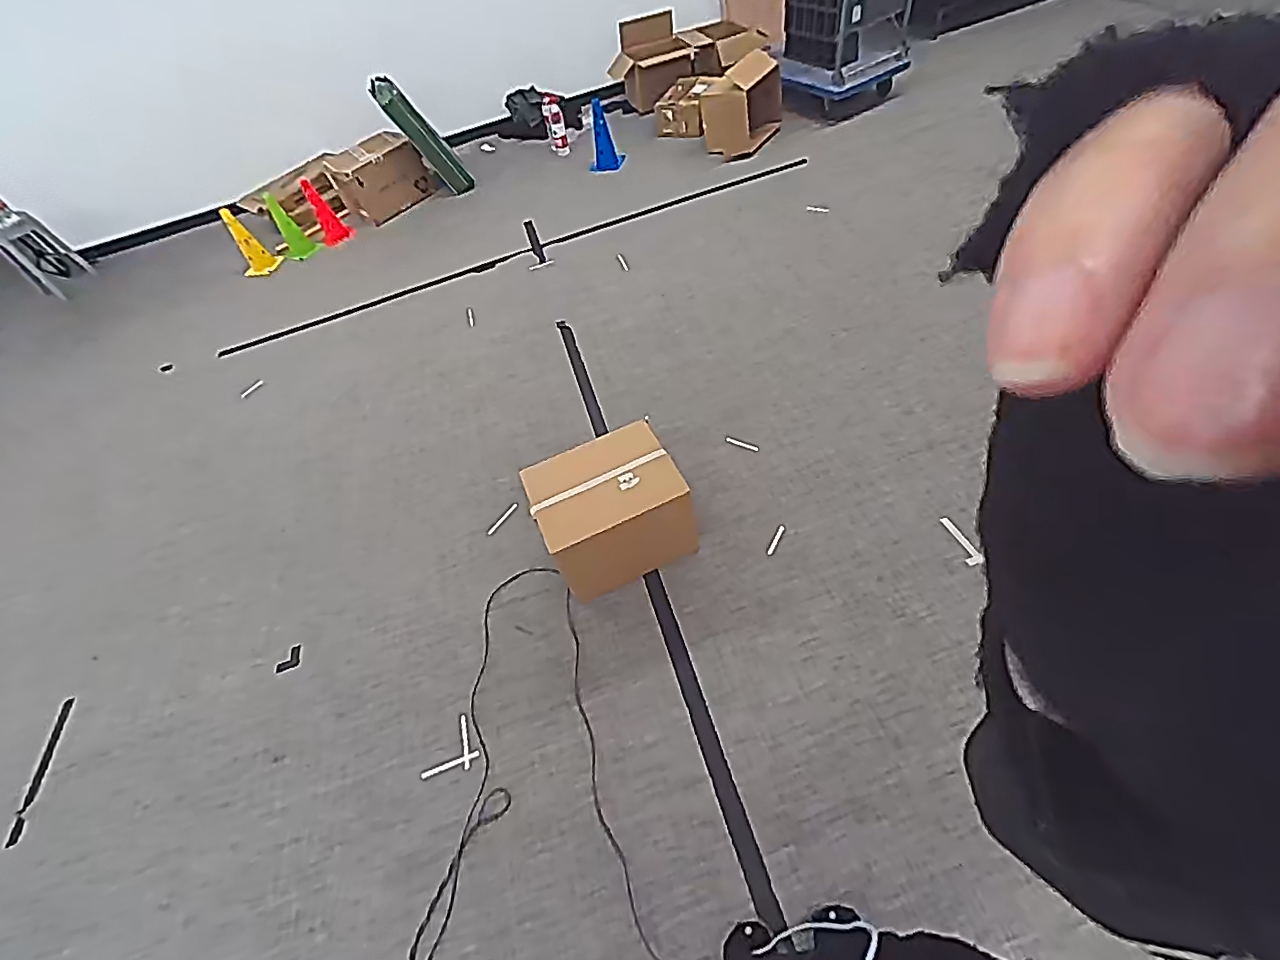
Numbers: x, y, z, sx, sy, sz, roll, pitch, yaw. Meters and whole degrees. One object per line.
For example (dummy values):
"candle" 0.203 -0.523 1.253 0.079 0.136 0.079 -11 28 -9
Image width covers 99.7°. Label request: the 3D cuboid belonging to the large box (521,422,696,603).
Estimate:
"large box" -0.086 0.099 1.608 0.408 0.320 0.320 -24 53 -8
